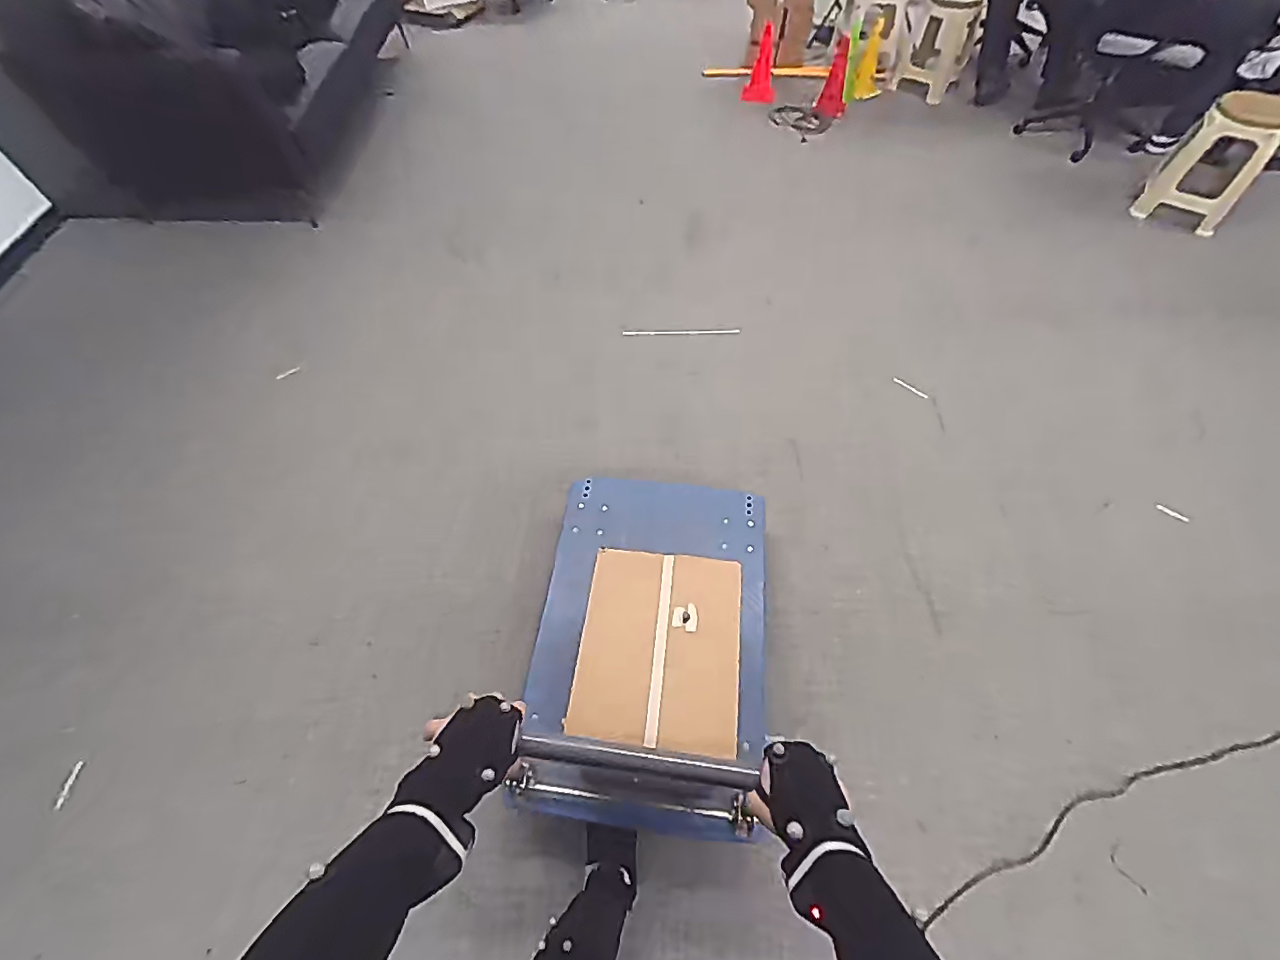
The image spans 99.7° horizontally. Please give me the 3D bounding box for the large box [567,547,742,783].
[{"bbox_3d":[0.044,0.405,1.175,0.320,0.320,0.408,6,56,4],"label":"large box"}]
